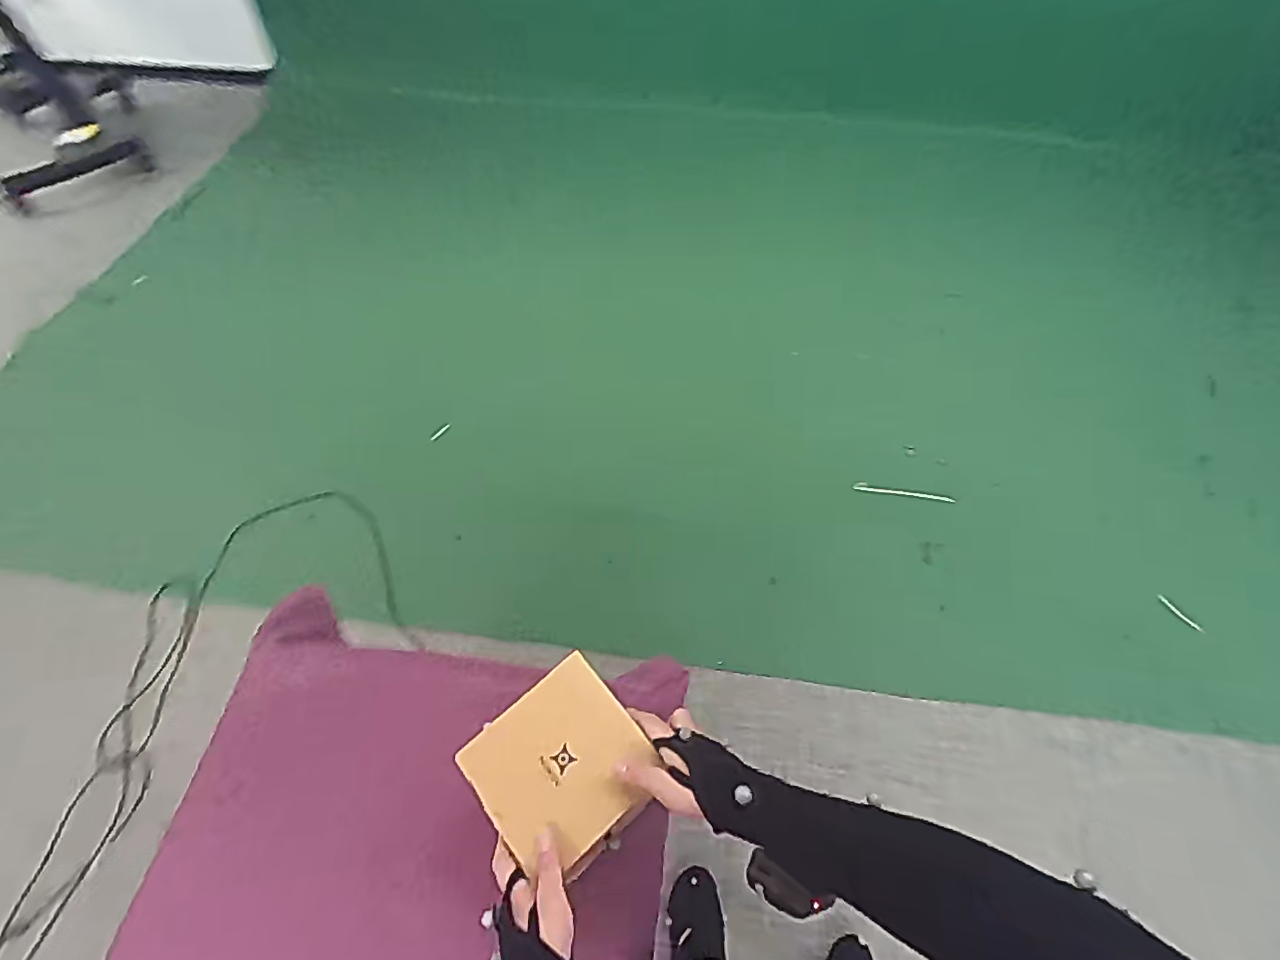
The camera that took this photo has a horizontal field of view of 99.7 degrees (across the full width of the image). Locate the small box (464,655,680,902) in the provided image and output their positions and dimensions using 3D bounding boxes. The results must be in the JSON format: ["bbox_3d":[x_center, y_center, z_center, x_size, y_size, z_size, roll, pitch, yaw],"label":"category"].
[{"bbox_3d":[-0.069,0.342,0.642,0.179,0.176,0.168,-39,63,-15],"label":"small box"}]
